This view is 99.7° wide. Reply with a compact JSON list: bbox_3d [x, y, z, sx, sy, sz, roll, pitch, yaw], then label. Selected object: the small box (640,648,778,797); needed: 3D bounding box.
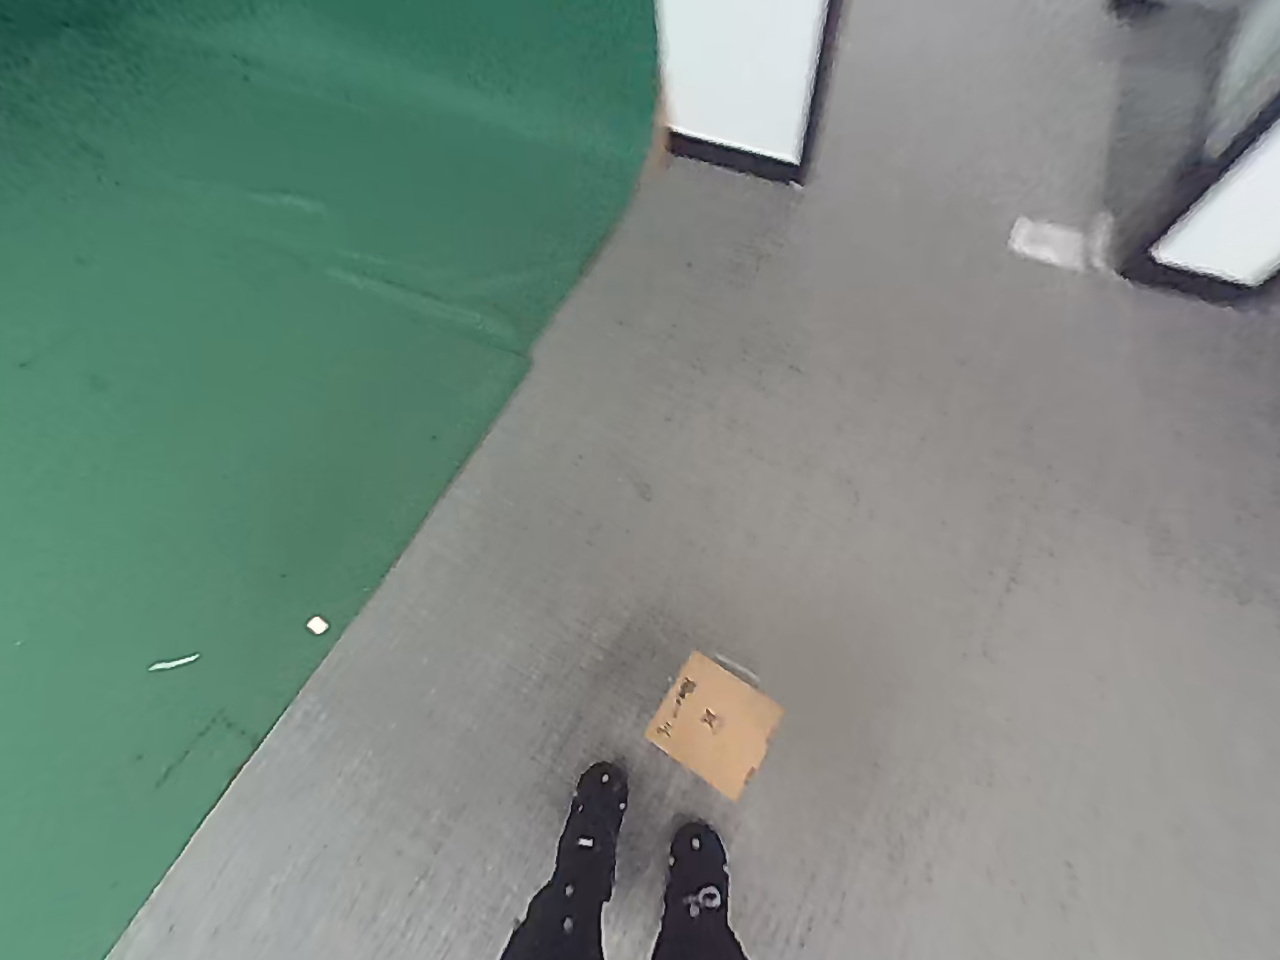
[{"bbox_3d":[0.122,0.427,0.972,0.179,0.176,0.168,32,74,17],"label":"small box"}]
